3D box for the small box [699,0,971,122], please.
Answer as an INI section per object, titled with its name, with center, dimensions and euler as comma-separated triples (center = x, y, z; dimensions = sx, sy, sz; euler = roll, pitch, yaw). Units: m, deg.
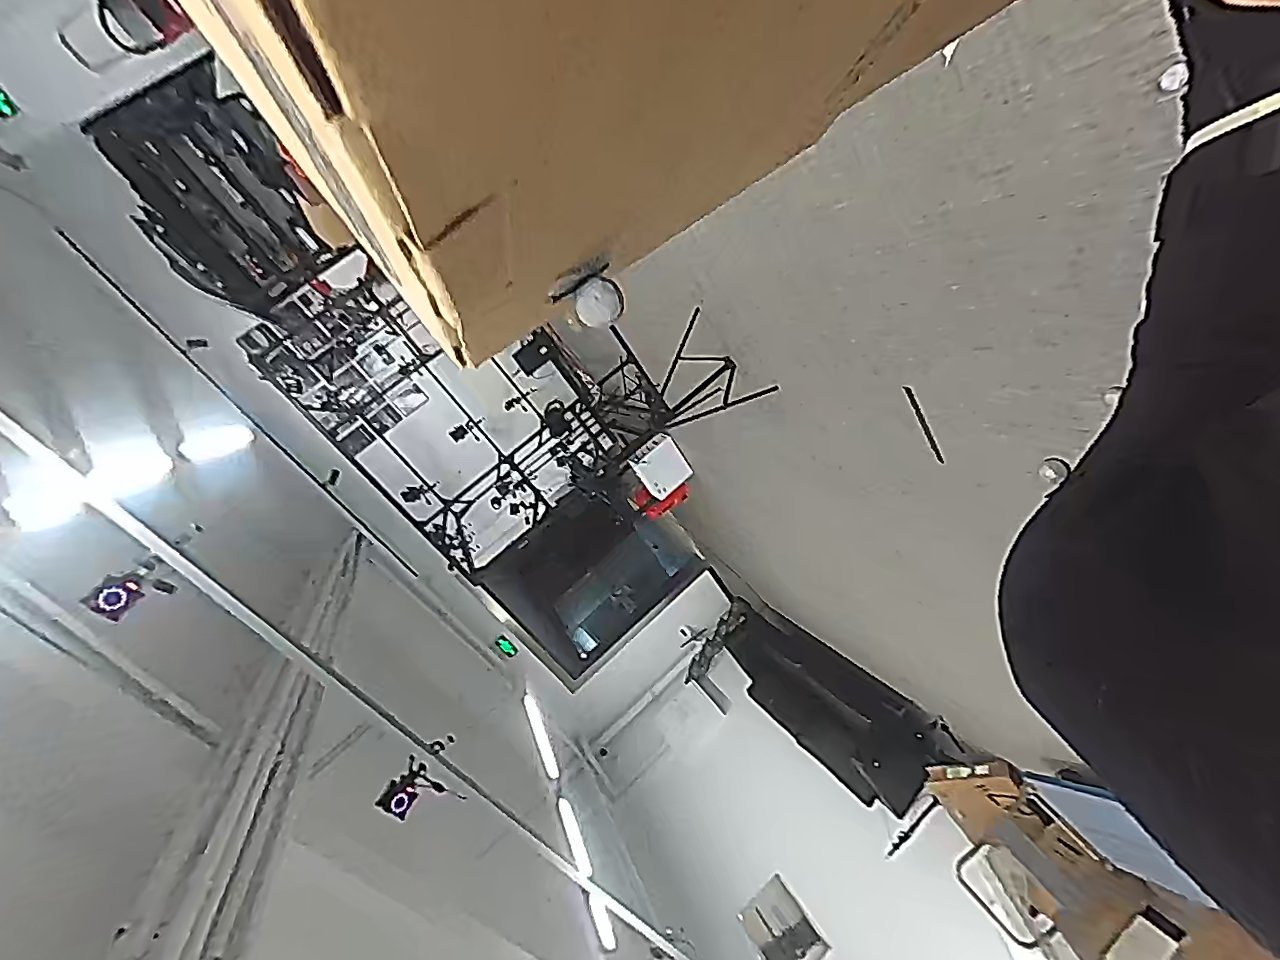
[small box]
center = 0.090, -0.255, 0.139
dimensions = 0.179, 0.176, 0.168
euler = 54, 170, -6
